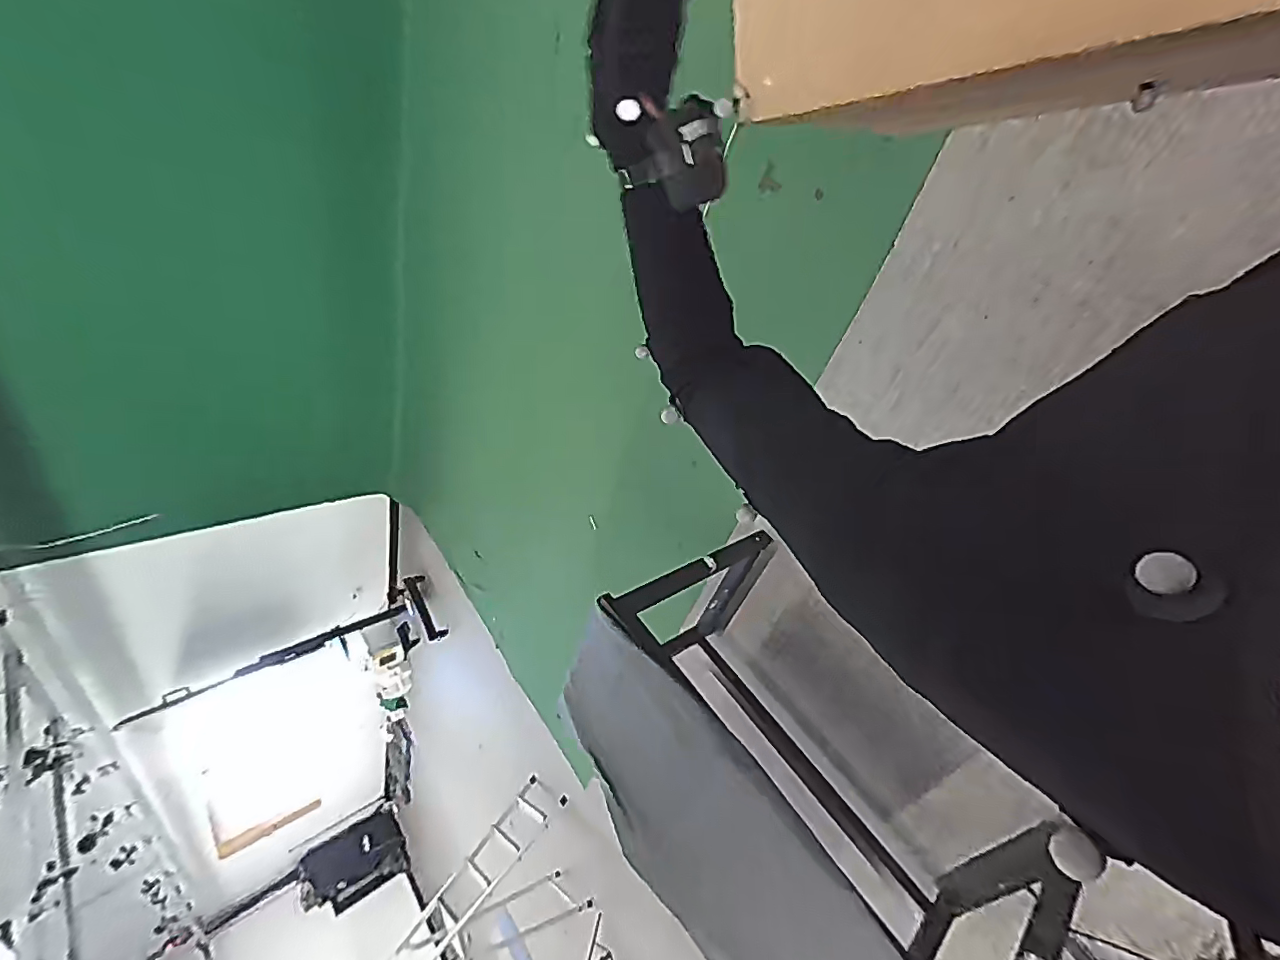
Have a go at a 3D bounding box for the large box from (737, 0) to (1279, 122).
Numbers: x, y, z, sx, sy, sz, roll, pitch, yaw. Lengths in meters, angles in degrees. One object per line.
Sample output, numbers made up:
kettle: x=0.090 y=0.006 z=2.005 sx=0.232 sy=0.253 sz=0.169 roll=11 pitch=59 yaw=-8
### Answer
large box: x=0.297 y=-0.399 z=0.267 sx=0.408 sy=0.320 sz=0.320 roll=16 pitch=123 yaw=39
